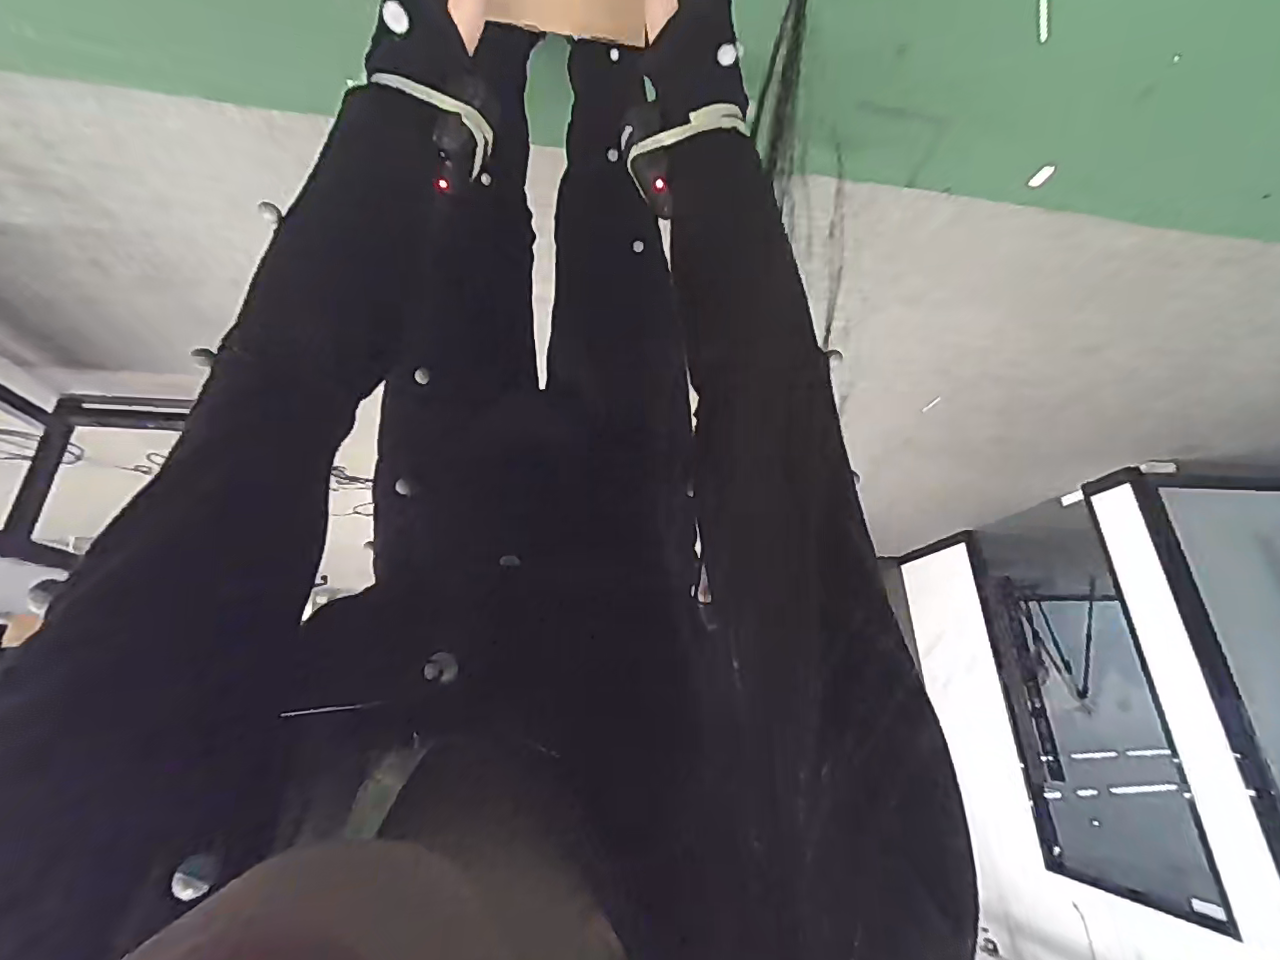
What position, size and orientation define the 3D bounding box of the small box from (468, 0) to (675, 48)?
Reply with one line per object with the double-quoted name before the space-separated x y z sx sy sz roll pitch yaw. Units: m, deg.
"small box" -0.044 -0.480 0.399 0.168 0.176 0.179 3 158 -11
